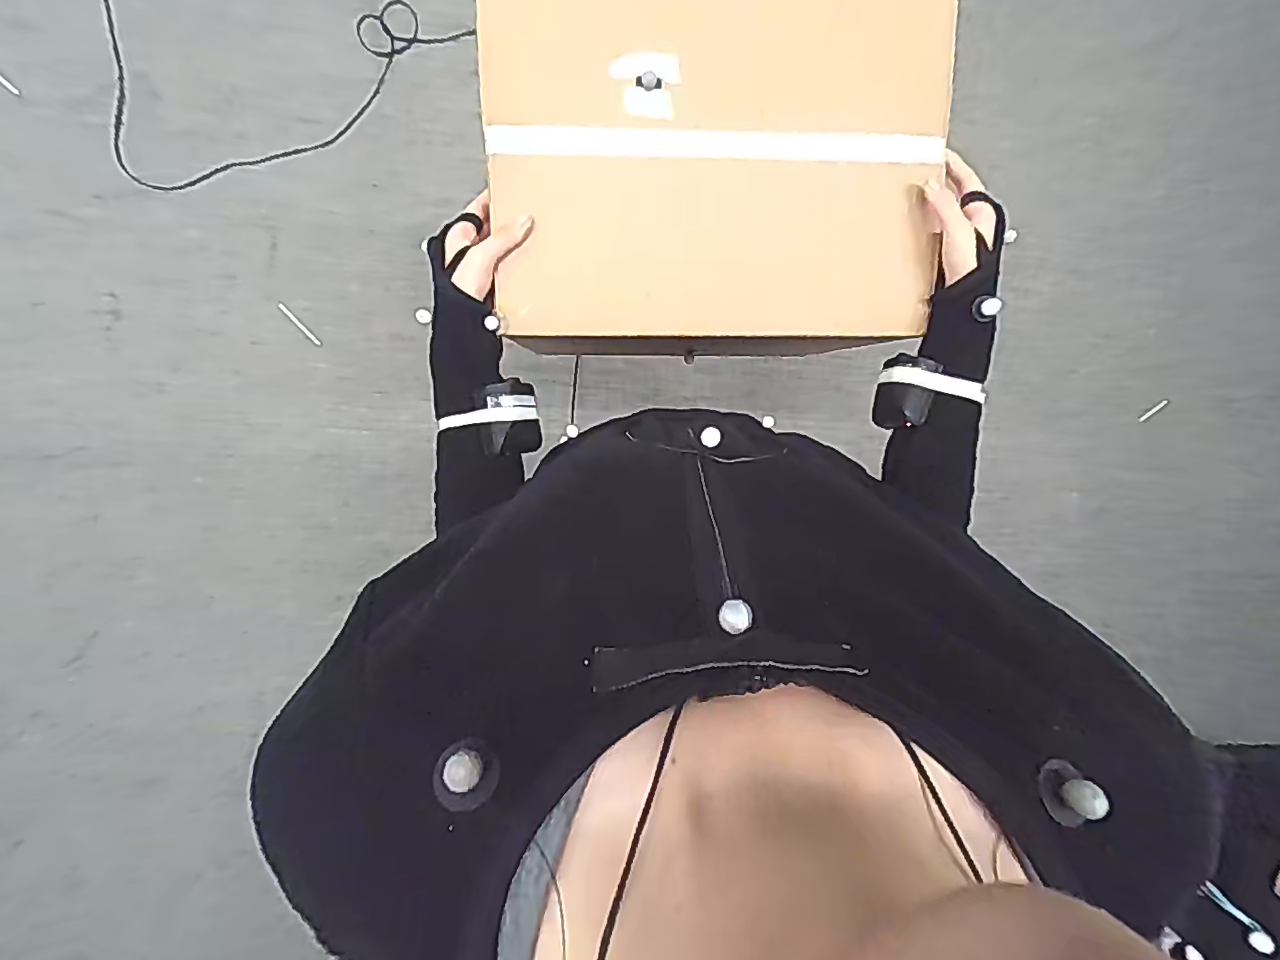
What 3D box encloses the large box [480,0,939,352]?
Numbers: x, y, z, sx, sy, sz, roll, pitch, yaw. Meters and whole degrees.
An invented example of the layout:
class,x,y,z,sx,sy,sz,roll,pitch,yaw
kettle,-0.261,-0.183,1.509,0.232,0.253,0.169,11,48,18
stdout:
class,x,y,z,sx,sy,sz,roll,pitch,yaw
large box,0.058,-0.315,0.631,0.408,0.320,0.320,-1,99,-4
